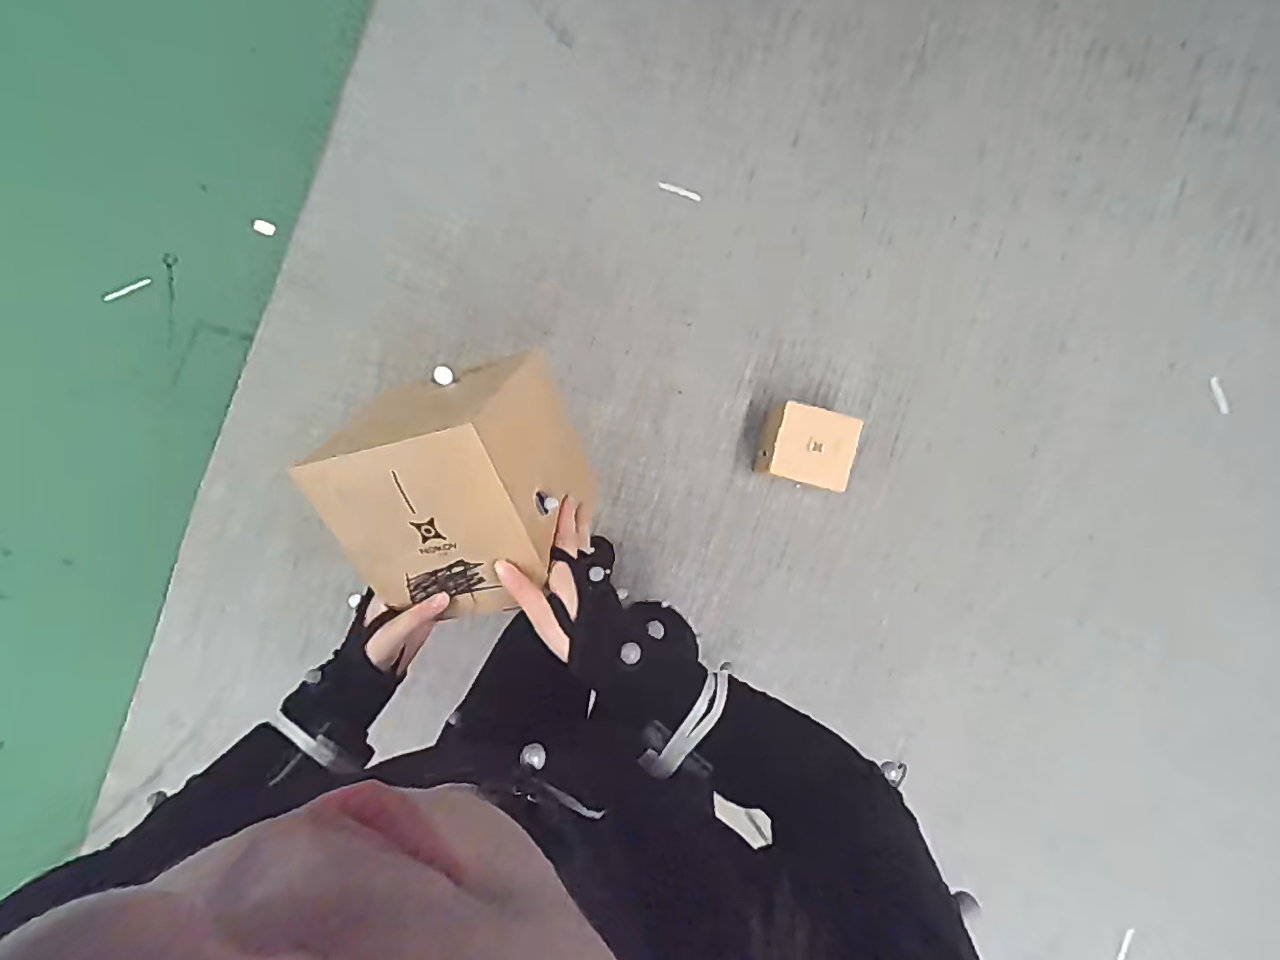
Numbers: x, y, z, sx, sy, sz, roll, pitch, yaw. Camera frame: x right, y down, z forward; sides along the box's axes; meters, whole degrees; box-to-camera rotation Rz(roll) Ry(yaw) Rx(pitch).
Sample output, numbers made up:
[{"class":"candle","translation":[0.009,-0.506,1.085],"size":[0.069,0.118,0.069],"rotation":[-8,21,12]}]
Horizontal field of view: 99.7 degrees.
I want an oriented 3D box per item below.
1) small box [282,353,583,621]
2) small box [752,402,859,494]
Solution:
[{"class":"small box","translation":[-0.168,0.004,0.507],"size":[0.168,0.176,0.179],"rotation":[-11,118,15]},{"class":"small box","translation":[0.375,-0.069,1.263],"size":[0.179,0.176,0.168],"rotation":[16,91,0]}]
